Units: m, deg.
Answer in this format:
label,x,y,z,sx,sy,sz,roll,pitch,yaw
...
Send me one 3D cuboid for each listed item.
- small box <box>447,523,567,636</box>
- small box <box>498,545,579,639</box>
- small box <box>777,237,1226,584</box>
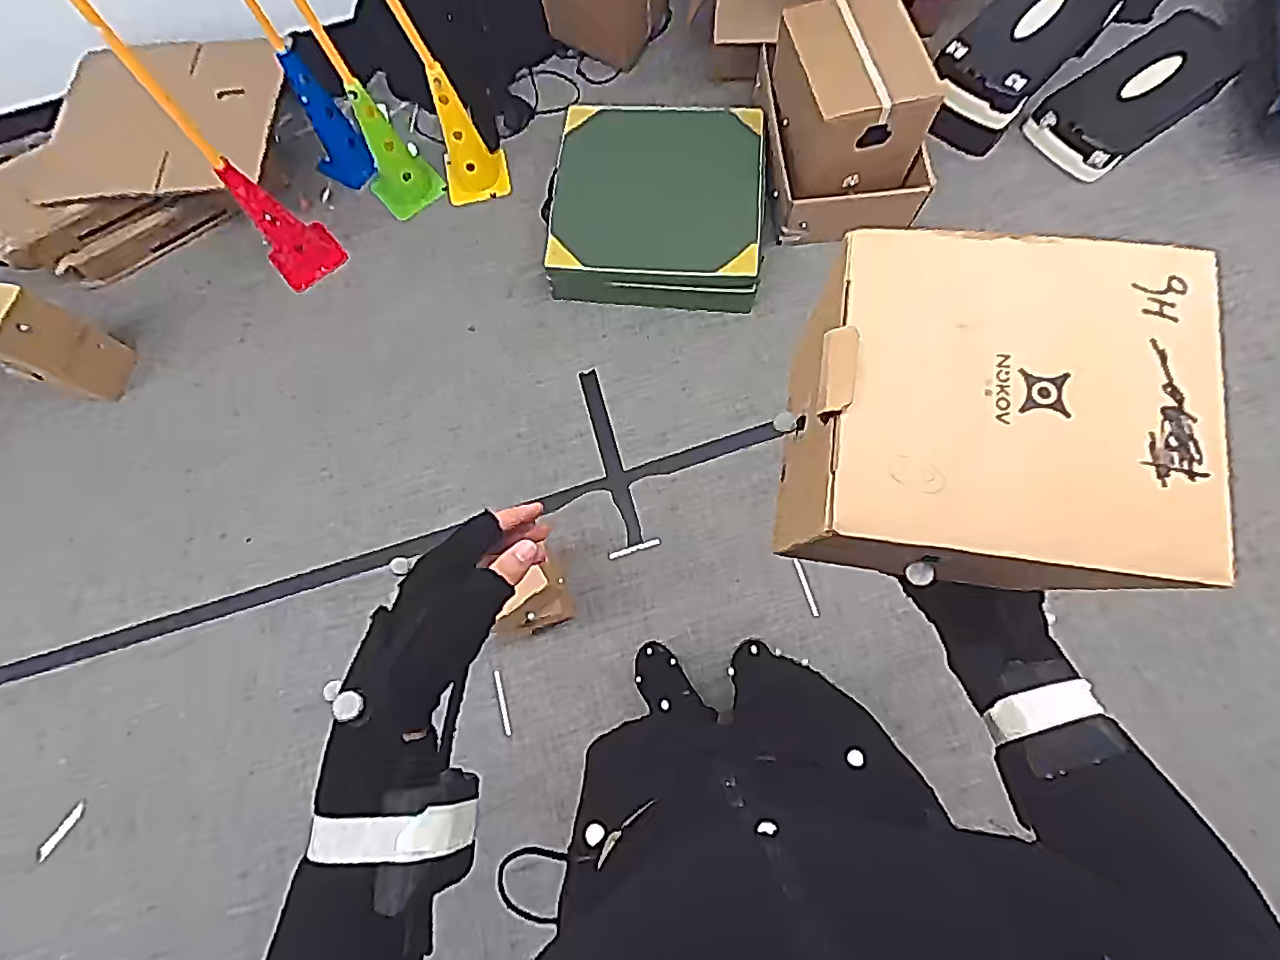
label,x,y,z,sx,sy,sz,roll,pitch,yaw
small box,-0.278,0.219,1.162,0.168,0.176,0.179,-31,76,-4
small box,-0.259,0.276,1.316,0.168,0.176,0.179,-19,72,-2
small box,0.186,-0.026,0.340,0.179,0.176,0.168,4,78,7
